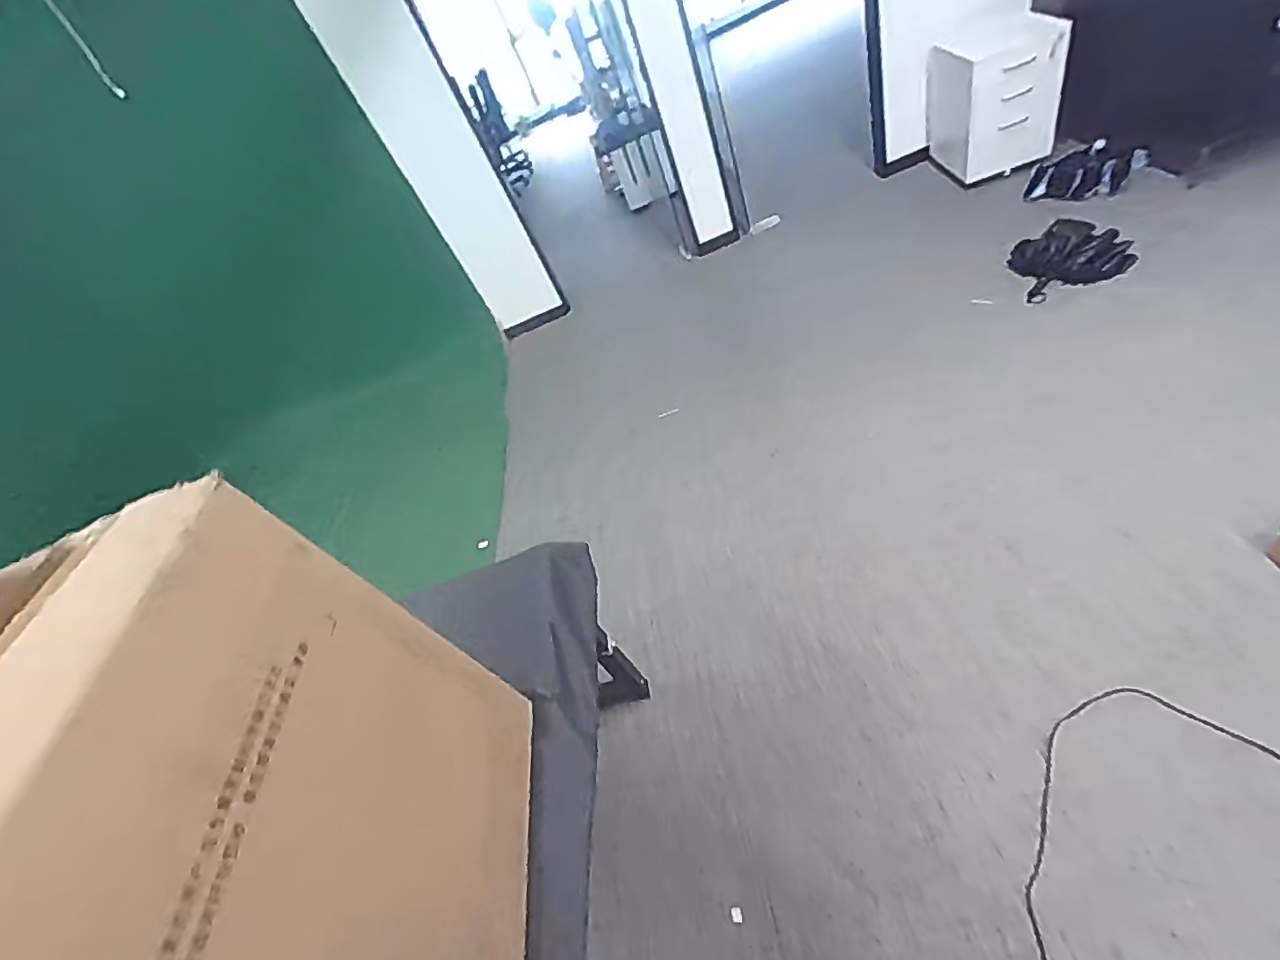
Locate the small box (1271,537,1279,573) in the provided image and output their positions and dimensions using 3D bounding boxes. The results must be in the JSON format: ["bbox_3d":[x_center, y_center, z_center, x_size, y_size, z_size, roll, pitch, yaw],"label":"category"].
[{"bbox_3d":[1.607,0.177,1.221,0.179,0.176,0.168,-20,41,10],"label":"small box"}]
